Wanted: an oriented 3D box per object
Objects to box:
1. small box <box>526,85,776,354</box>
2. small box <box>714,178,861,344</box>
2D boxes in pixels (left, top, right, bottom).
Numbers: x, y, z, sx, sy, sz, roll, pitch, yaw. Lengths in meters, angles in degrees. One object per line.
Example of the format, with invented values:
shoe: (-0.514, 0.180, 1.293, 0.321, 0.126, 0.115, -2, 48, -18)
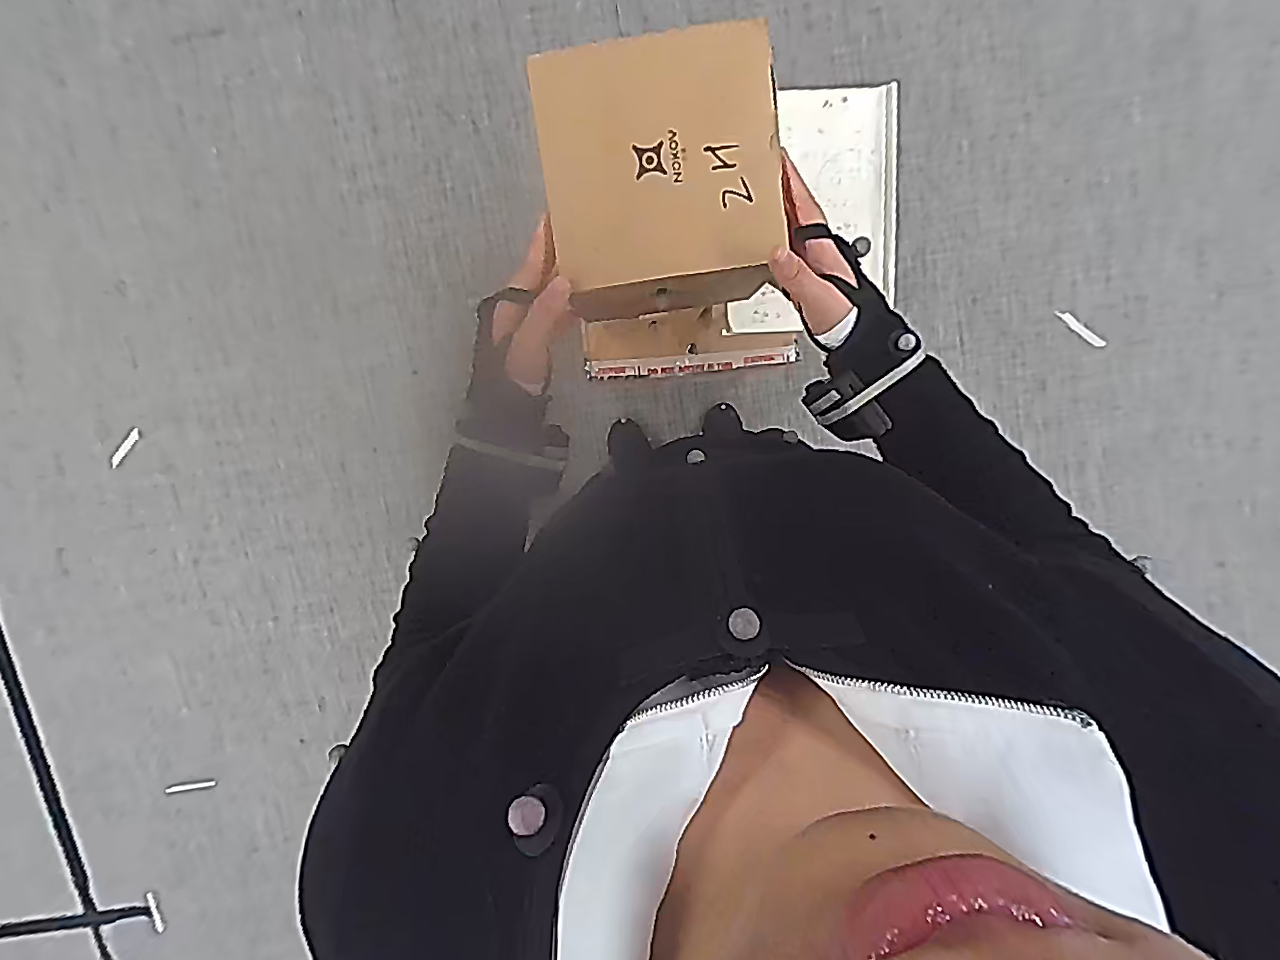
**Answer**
small box: (0.012, -0.210, 0.486, 0.179, 0.176, 0.168, -7, 99, 1)
small box: (0.182, -0.286, 0.736, 0.168, 0.176, 0.179, -3, 99, -2)
